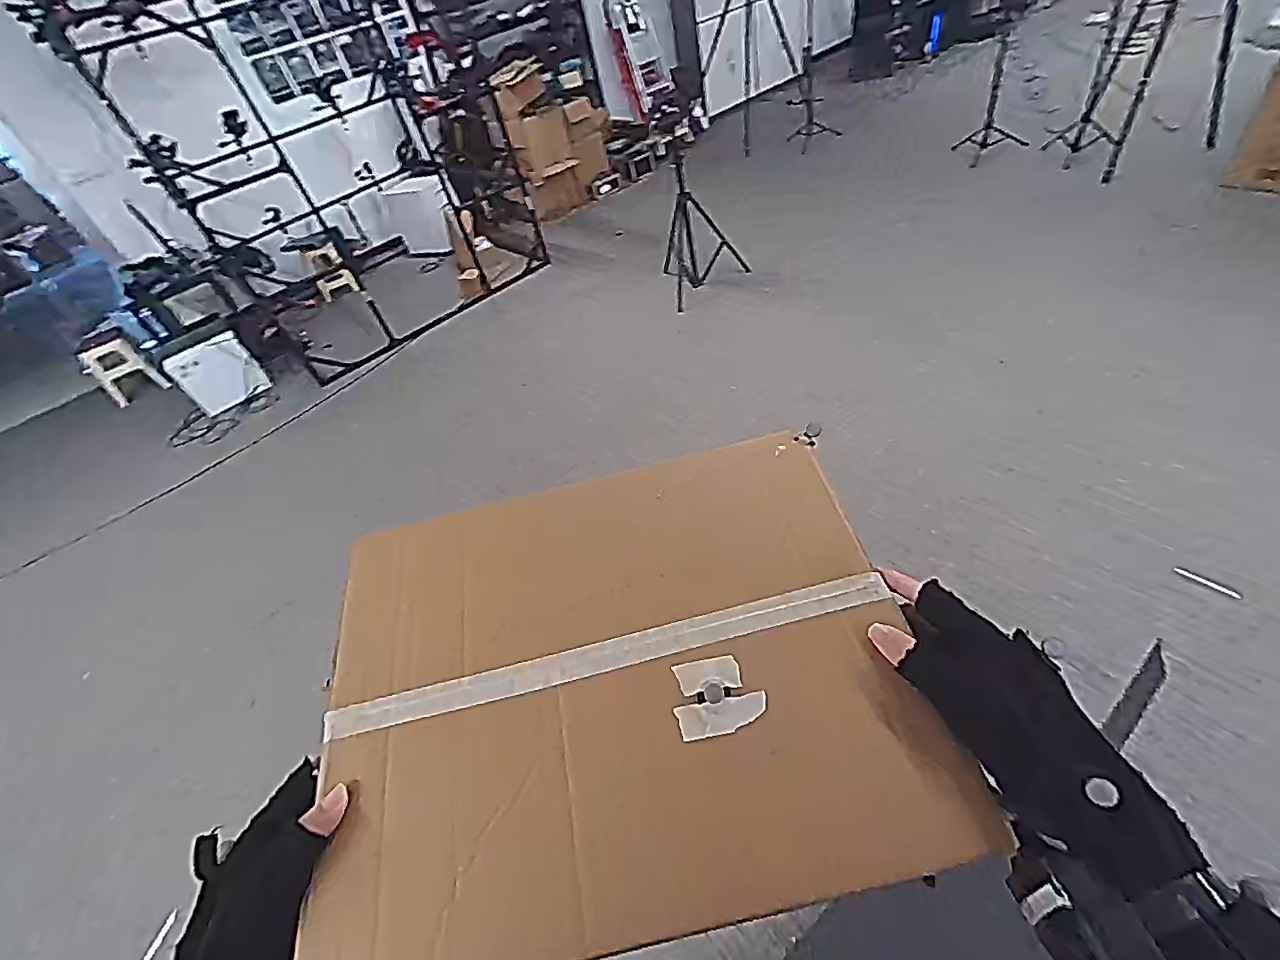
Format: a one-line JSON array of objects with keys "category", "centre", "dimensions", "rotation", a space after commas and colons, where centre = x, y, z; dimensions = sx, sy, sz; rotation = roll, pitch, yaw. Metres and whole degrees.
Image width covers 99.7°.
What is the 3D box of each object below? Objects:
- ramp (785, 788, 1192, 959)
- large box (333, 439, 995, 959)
[{"category": "ramp", "centre": [0.556, 1.039, 1.017], "dimensions": [0.991, 0.206, 0.509], "rotation": [-36, 44, -20]}, {"category": "large box", "centre": [0.005, 0.215, 0.516], "dimensions": [0.408, 0.320, 0.320], "rotation": [-14, 54, 0]}]
